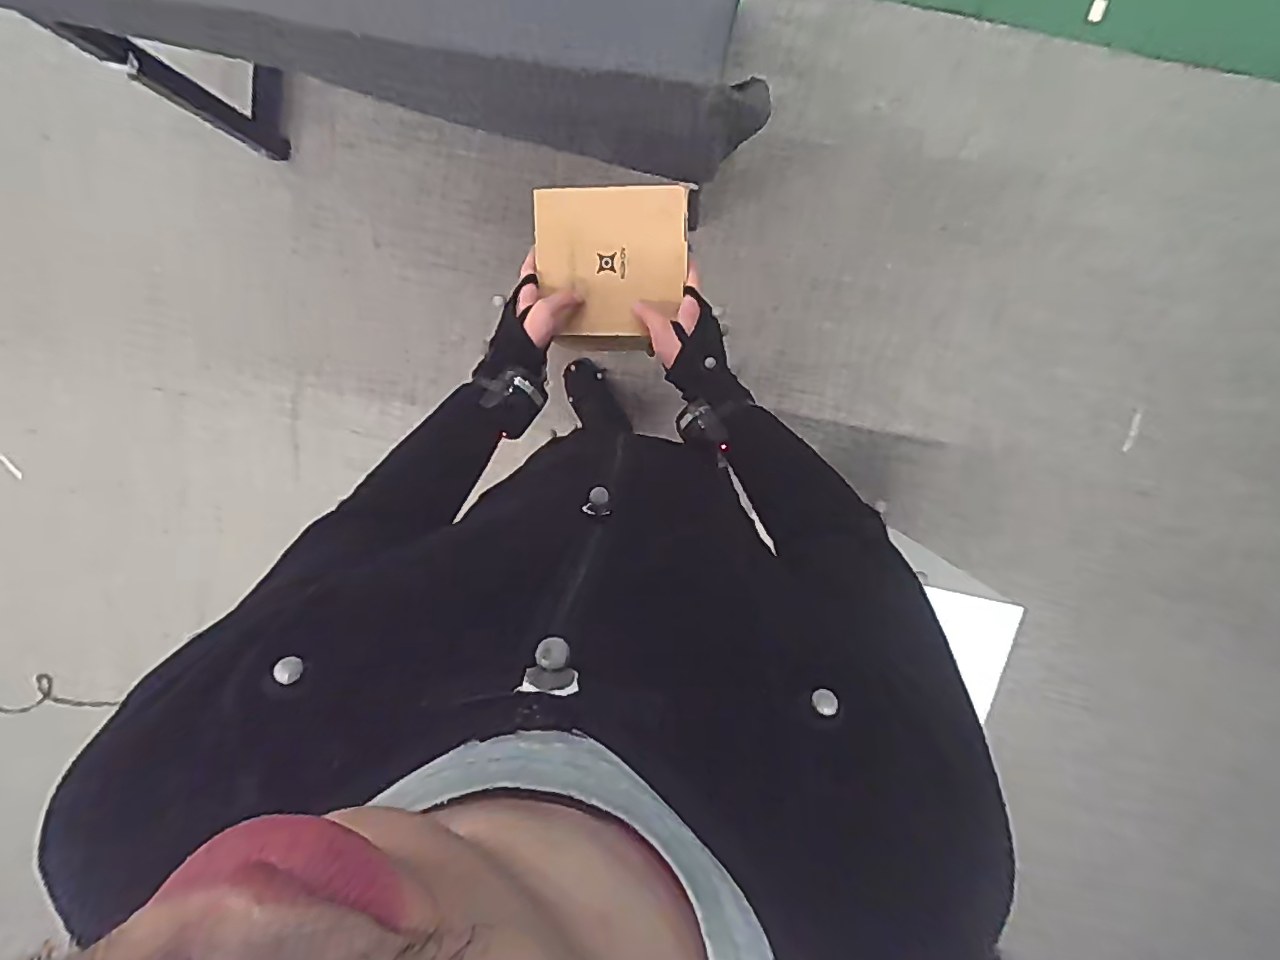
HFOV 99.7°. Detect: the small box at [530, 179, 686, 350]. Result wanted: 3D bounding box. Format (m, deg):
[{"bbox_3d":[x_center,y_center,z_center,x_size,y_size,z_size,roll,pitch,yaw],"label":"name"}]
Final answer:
[{"bbox_3d":[-0.030,-0.260,0.687,0.179,0.176,0.168,1,97,6],"label":"small box"}]
